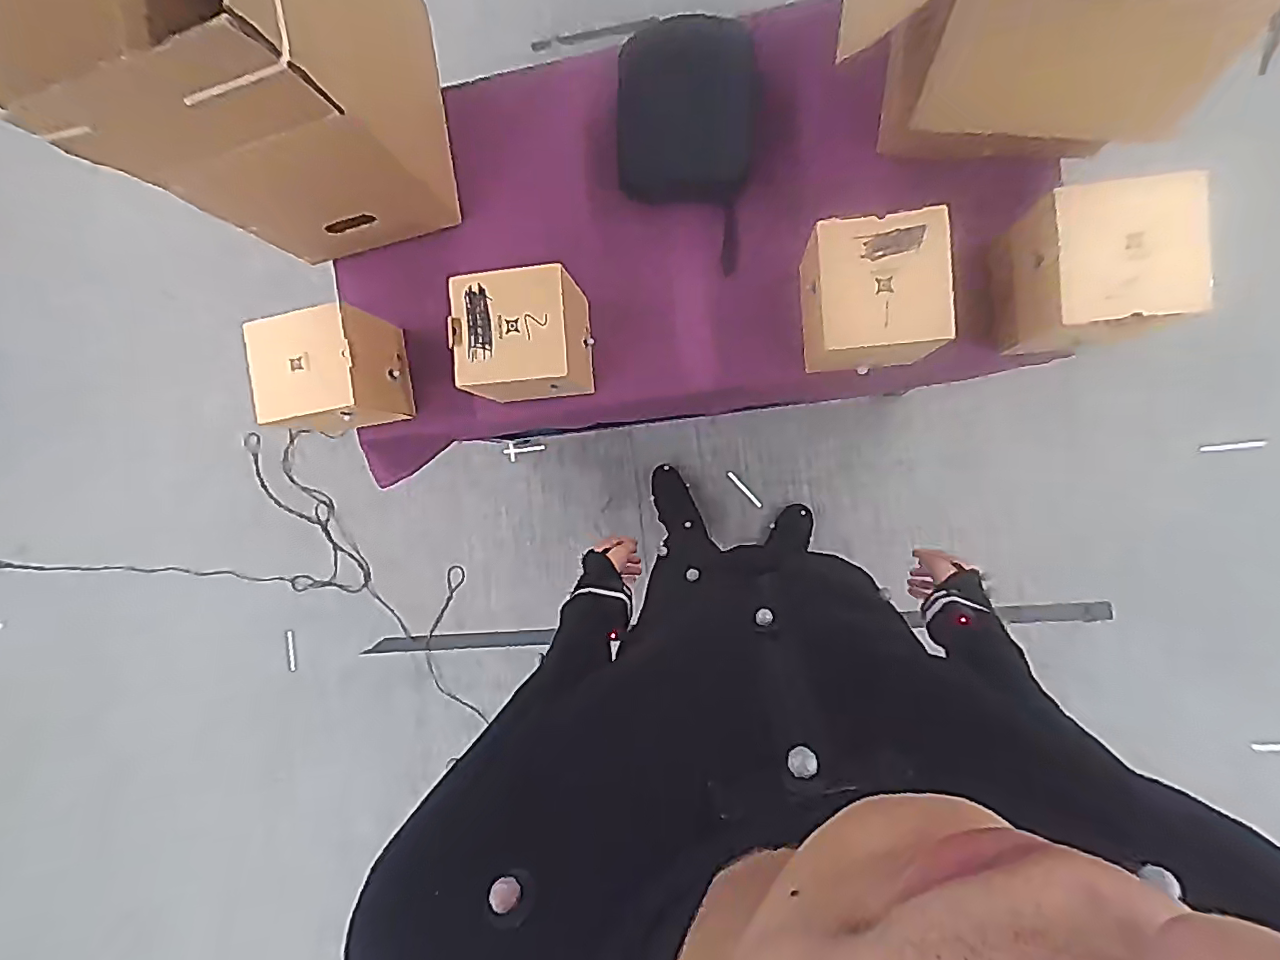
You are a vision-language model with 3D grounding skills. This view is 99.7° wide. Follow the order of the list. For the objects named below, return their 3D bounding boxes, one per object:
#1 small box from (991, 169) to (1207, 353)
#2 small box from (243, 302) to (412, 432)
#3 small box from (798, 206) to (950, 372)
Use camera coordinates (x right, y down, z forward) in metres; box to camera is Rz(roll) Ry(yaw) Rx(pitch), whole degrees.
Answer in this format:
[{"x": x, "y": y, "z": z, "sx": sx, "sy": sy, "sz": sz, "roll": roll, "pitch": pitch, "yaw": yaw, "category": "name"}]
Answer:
[{"x": 0.608, "y": -0.285, "z": 0.741, "sx": 0.168, "sy": 0.176, "sz": 0.179, "roll": -3, "pitch": 90, "yaw": 10, "category": "small box"}, {"x": -0.523, "y": -0.181, "z": 0.923, "sx": 0.179, "sy": 0.176, "sz": 0.168, "roll": -10, "pitch": 89, "yaw": 8, "category": "small box"}, {"x": 0.328, "y": -0.265, "z": 0.788, "sx": 0.168, "sy": 0.176, "sz": 0.179, "roll": -4, "pitch": 91, "yaw": 9, "category": "small box"}]
